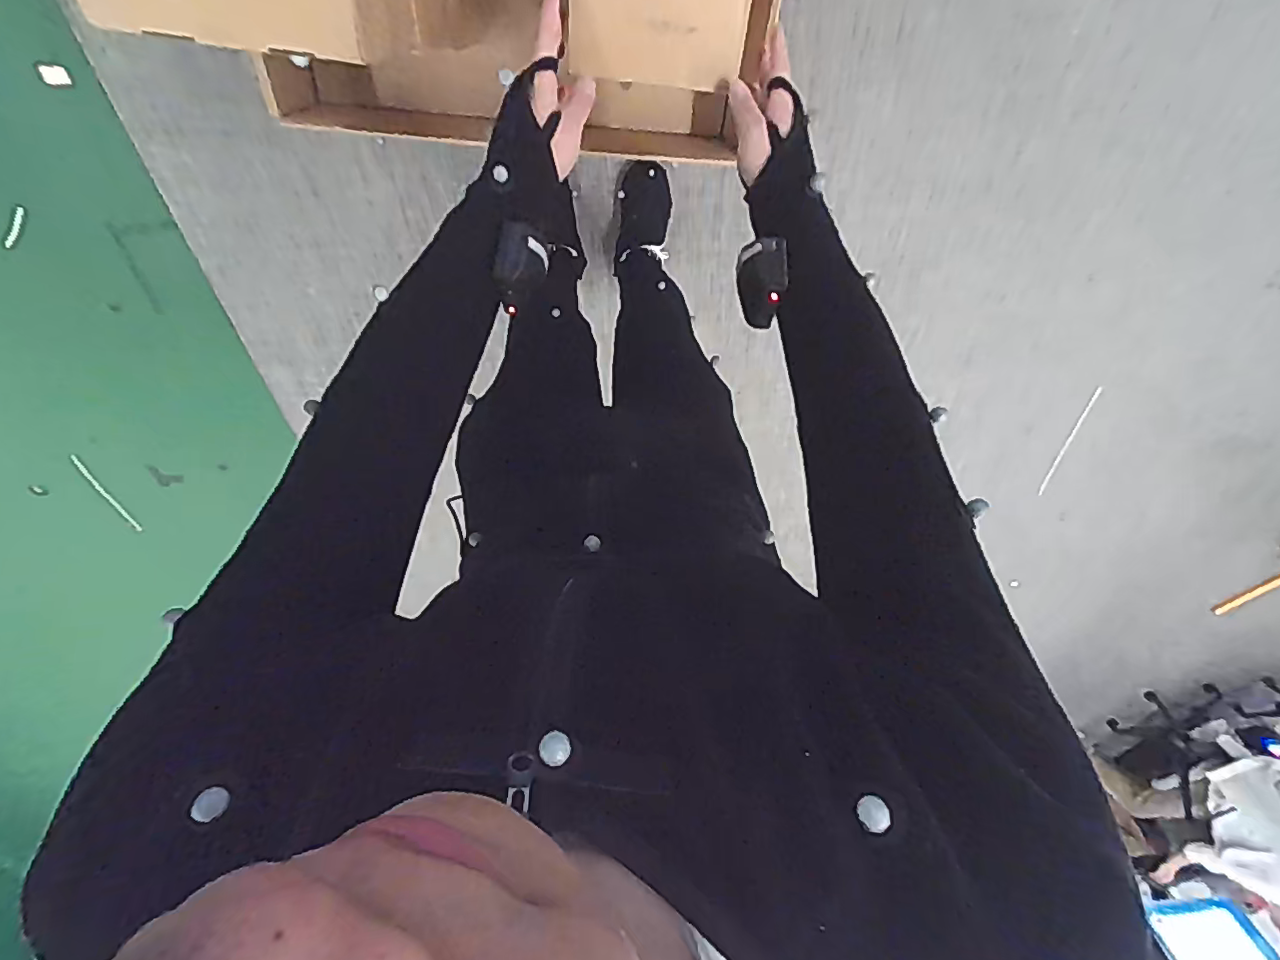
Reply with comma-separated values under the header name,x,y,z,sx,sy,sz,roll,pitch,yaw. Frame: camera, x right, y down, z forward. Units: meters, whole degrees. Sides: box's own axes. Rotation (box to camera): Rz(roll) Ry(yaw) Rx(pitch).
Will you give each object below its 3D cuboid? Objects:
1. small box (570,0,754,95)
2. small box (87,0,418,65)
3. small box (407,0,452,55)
name,x,y,z,sx,sy,sz,roll,pitch,yaw
small box,0.017,-0.498,0.525,0.168,0.176,0.179,2,131,-7
small box,-0.258,-0.403,0.359,0.168,0.176,0.179,3,131,-8
small box,-0.273,-0.508,0.486,0.168,0.176,0.179,1,131,-9
